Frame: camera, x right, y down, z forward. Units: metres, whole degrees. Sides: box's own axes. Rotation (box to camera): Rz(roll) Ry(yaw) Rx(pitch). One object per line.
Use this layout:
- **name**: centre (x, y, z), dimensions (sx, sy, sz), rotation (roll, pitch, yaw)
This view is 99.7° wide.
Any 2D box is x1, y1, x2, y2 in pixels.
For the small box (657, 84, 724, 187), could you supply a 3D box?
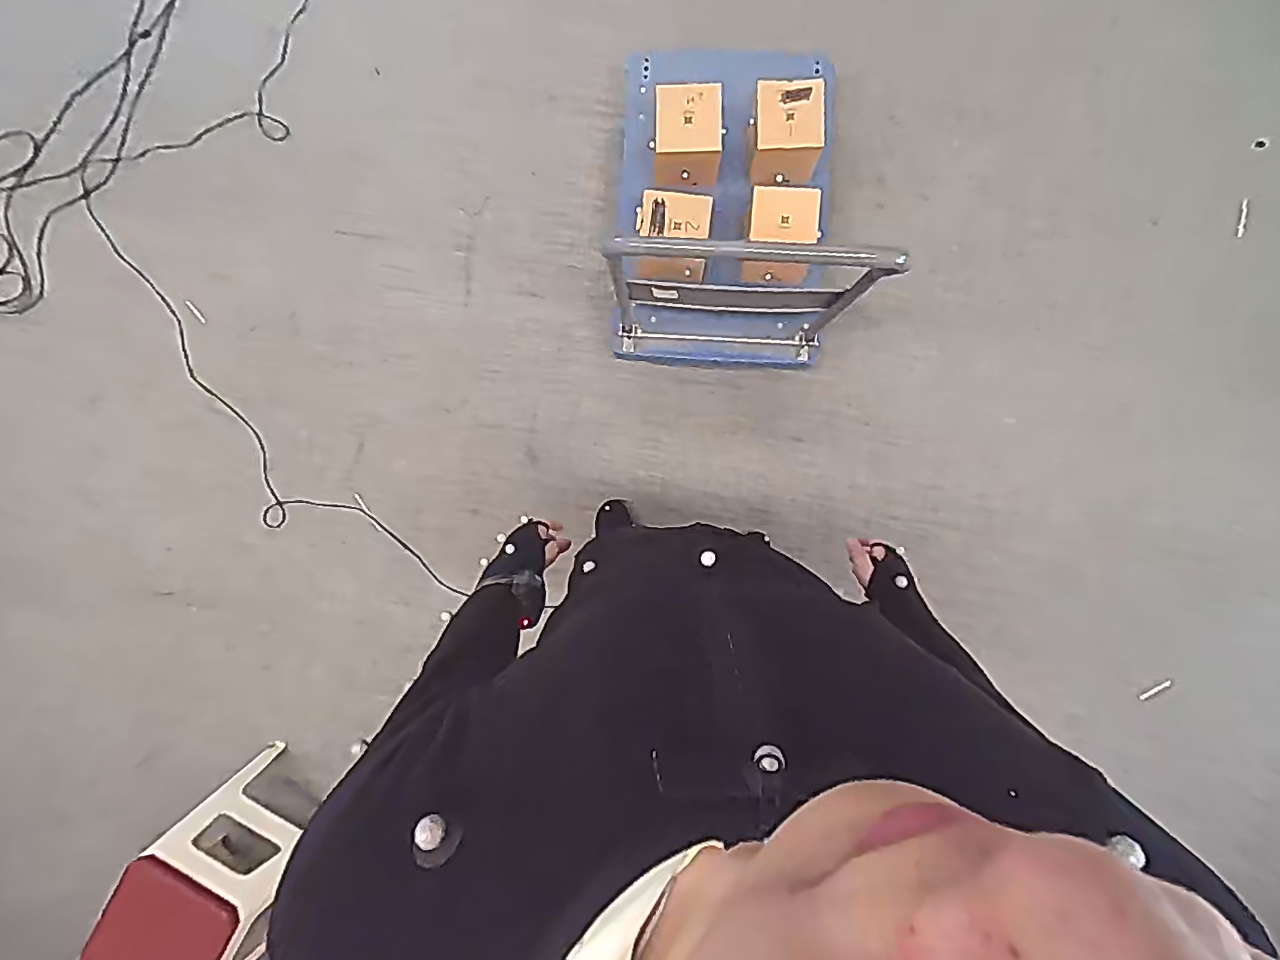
- **small box**: centre (0.130, -0.899, 1.426), dimensions (0.168, 0.176, 0.179), rotation (0, 88, 2)

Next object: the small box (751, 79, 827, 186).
- **small box**: centre (0.383, -0.900, 1.412), dimensions (0.168, 0.176, 0.179), rotation (0, 89, 4)

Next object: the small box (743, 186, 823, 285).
- **small box**: centre (0.365, -0.630, 1.407), dimensions (0.168, 0.176, 0.179), rotation (5, 89, 3)
